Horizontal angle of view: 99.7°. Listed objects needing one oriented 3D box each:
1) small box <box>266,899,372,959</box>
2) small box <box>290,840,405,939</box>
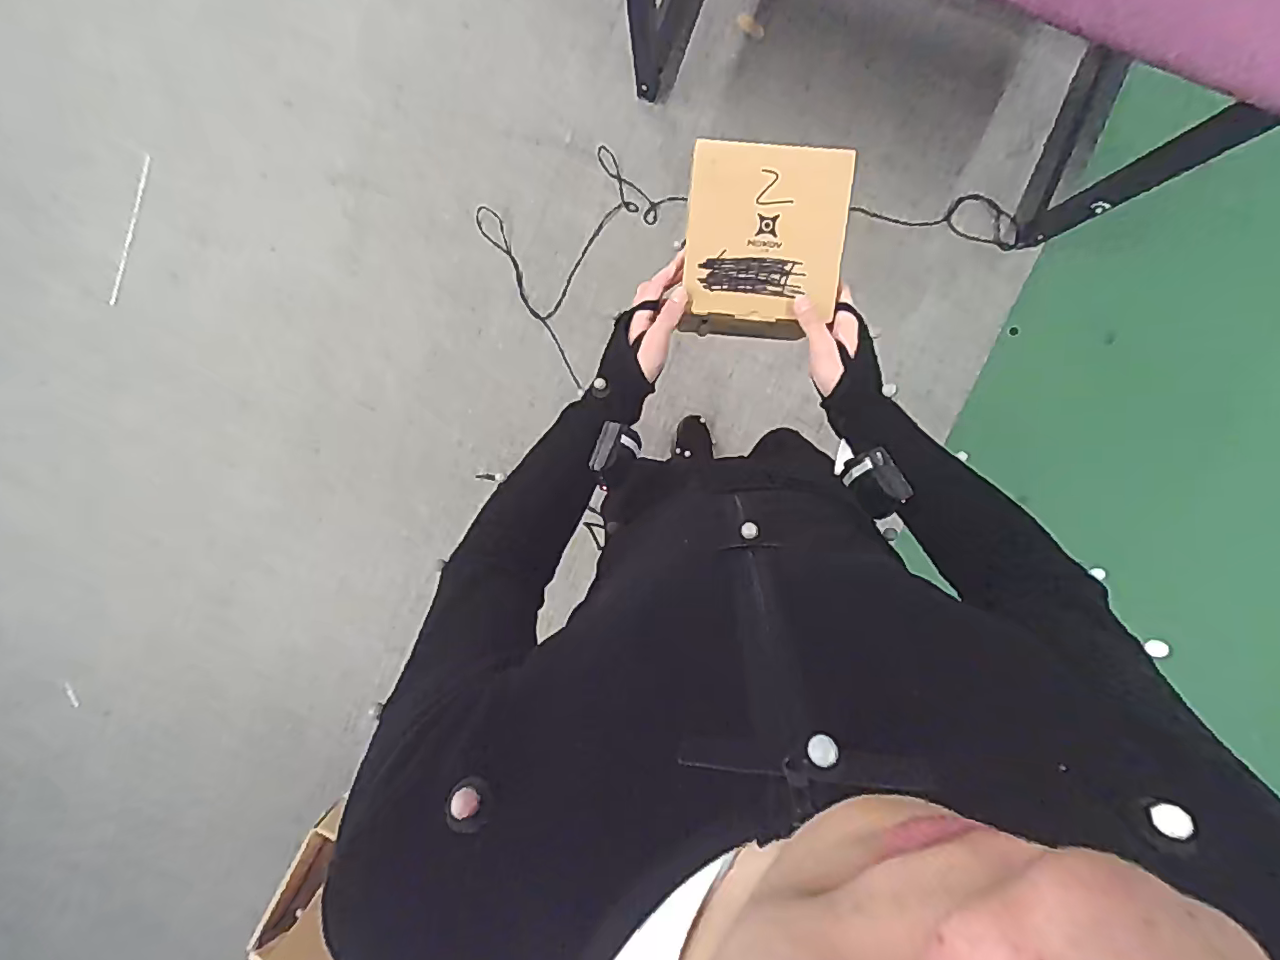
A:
[{"bbox_3d":[-0.693,1.030,1.111,0.168,0.176,0.179,33,97,-1],"label":"small box"},{"bbox_3d":[-0.690,1.011,1.272,0.168,0.176,0.179,34,97,-1],"label":"small box"}]
